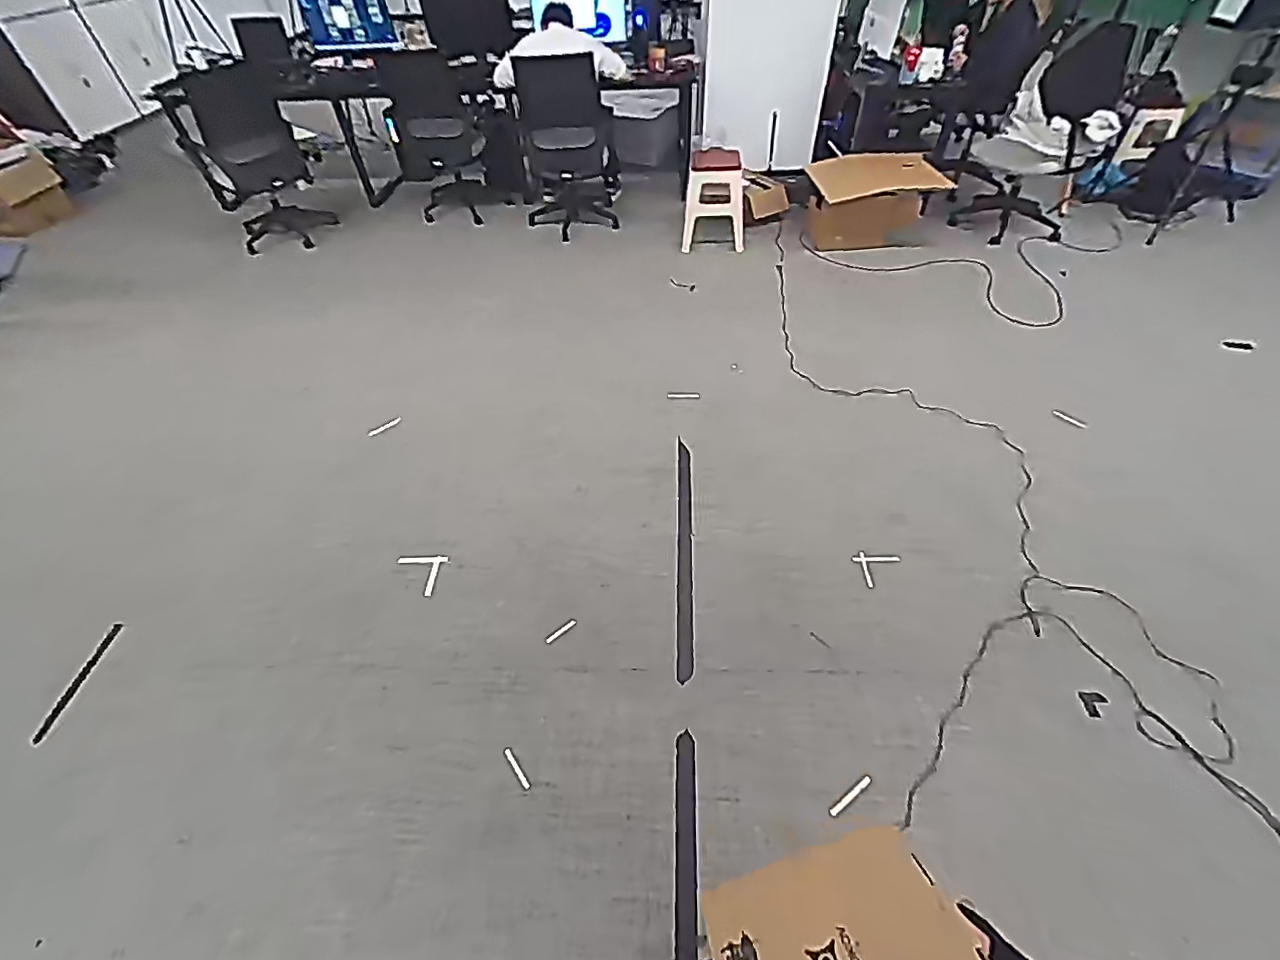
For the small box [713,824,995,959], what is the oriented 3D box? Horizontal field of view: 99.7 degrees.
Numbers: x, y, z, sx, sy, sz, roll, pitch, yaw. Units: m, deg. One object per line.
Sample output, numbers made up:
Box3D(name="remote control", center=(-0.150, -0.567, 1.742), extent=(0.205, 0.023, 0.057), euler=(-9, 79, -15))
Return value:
Box3D(name="small box", center=(0.174, 0.412, 0.401), extent=(0.179, 0.176, 0.168), euler=(-20, 11, -1))
